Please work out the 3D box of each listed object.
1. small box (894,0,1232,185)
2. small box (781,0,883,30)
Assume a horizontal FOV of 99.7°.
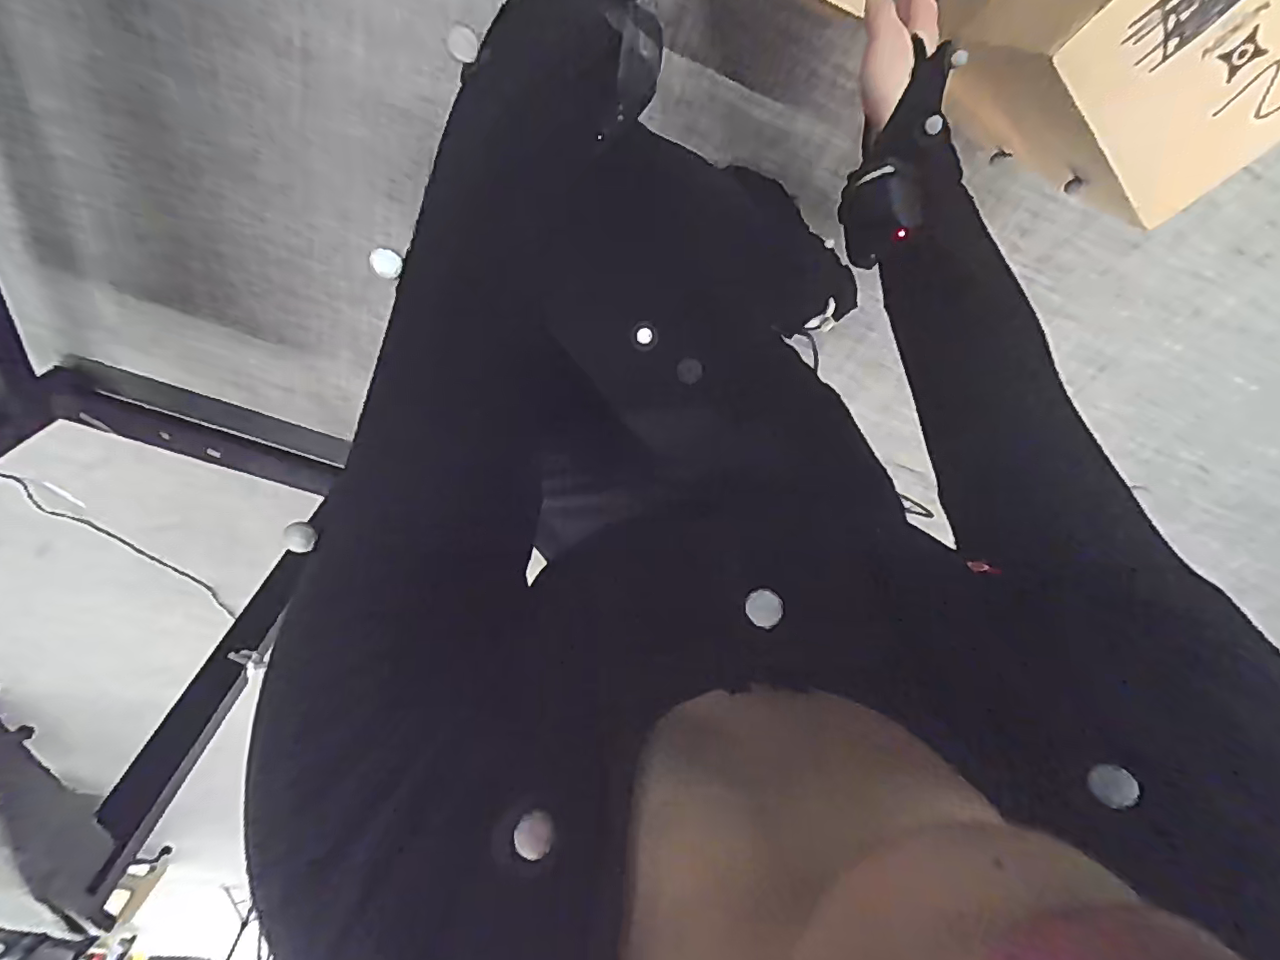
[{"bbox_3d":[0.395,-0.439,0.539,0.179,0.176,0.168,26,129,-17],"label":"small box"},{"bbox_3d":[0.157,-0.538,0.476,0.179,0.176,0.168,18,130,-10],"label":"small box"}]
